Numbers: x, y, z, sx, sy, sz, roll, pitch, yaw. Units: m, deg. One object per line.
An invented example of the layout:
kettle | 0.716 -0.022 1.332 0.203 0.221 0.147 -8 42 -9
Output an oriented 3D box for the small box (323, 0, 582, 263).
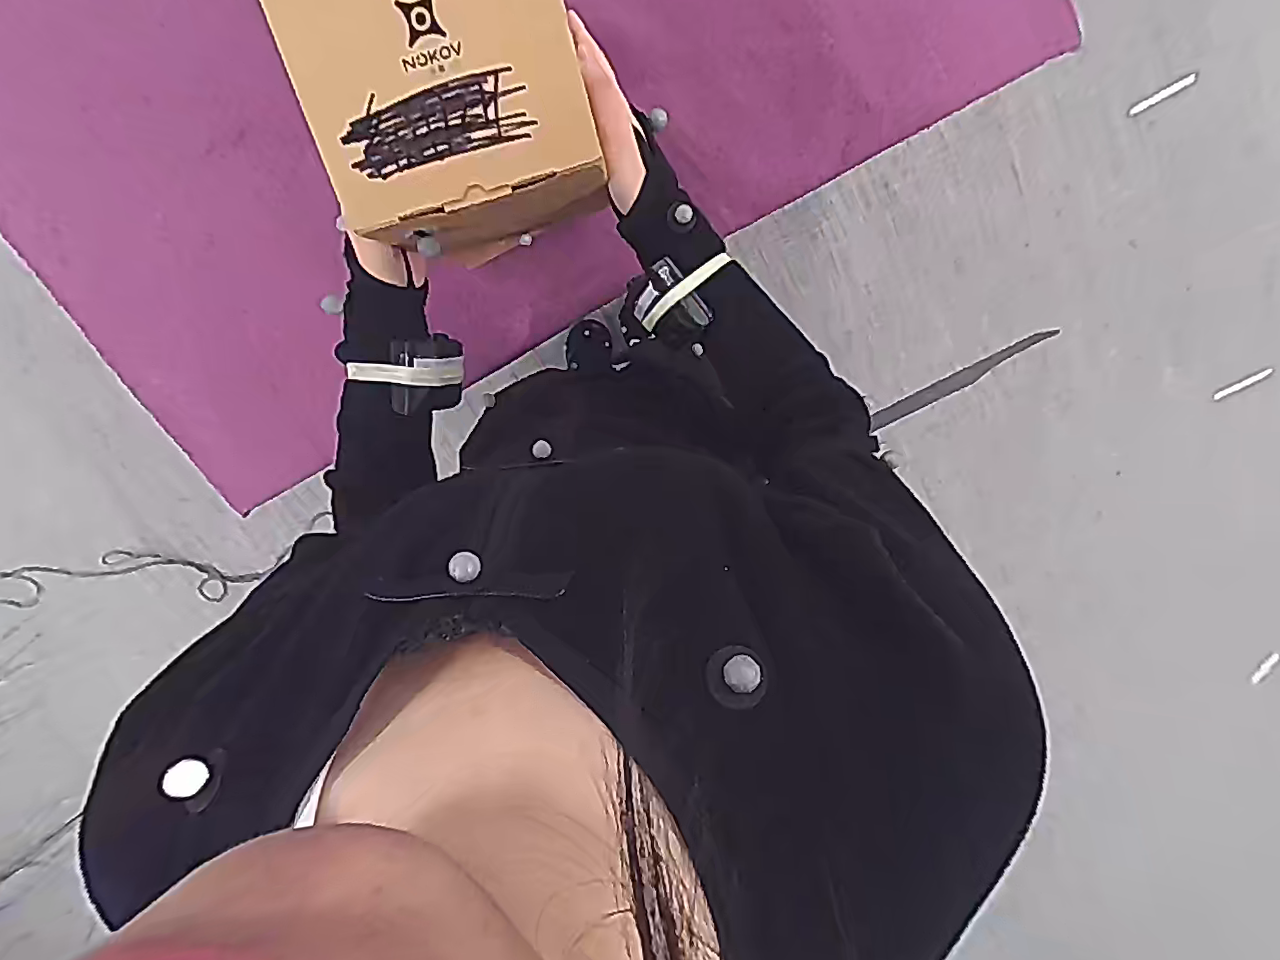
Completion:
small box | -0.174 -0.351 0.567 0.168 0.176 0.179 -26 106 7
